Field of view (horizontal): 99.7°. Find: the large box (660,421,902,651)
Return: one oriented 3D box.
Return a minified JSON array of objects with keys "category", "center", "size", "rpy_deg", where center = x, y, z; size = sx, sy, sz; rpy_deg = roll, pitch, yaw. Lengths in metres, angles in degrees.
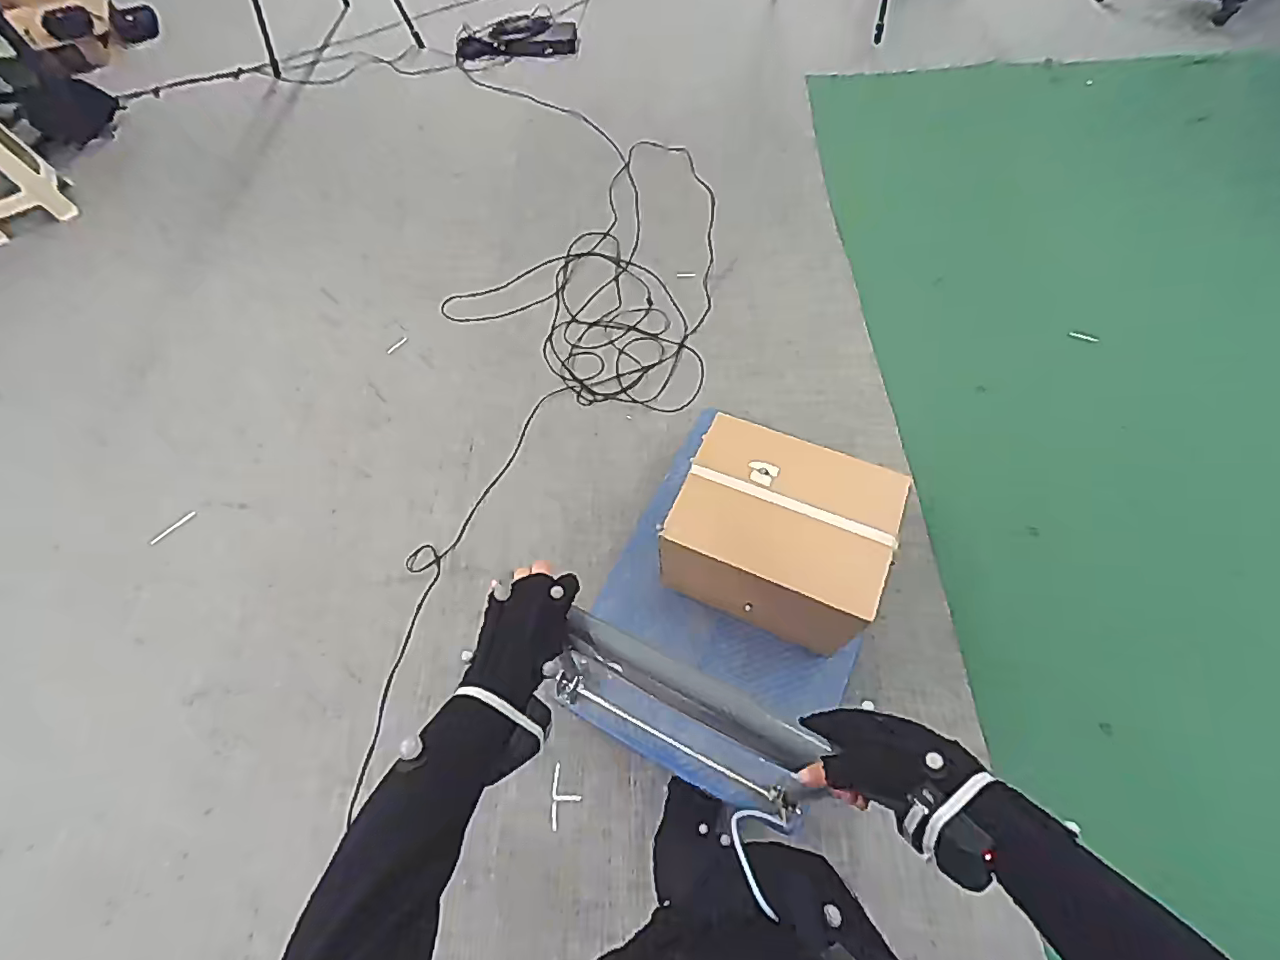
[{"category":"large box","center":[0.291,0.129,1.182],"size":[0.408,0.320,0.320],"rpy_deg":[20,64,15]}]
